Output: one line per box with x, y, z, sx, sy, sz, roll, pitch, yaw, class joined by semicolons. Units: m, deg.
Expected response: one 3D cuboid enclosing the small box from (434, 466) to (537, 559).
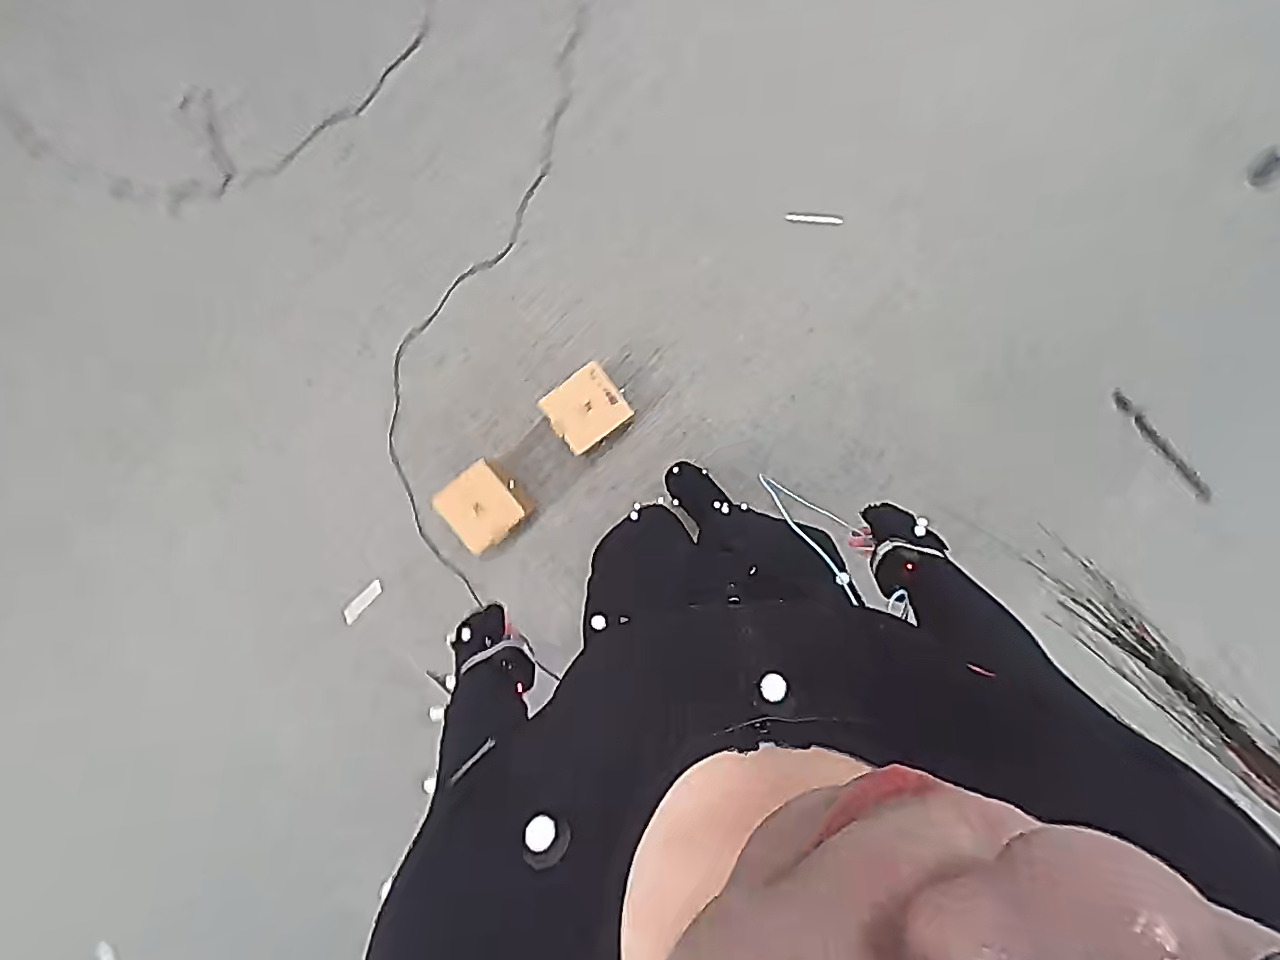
-0.391;0.075;1.408;0.168;0.176;0.179;-40;92;1;small box

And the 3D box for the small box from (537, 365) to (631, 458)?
-0.135;-0.170;1.394;0.179;0.176;0.168;-37;93;2;small box
